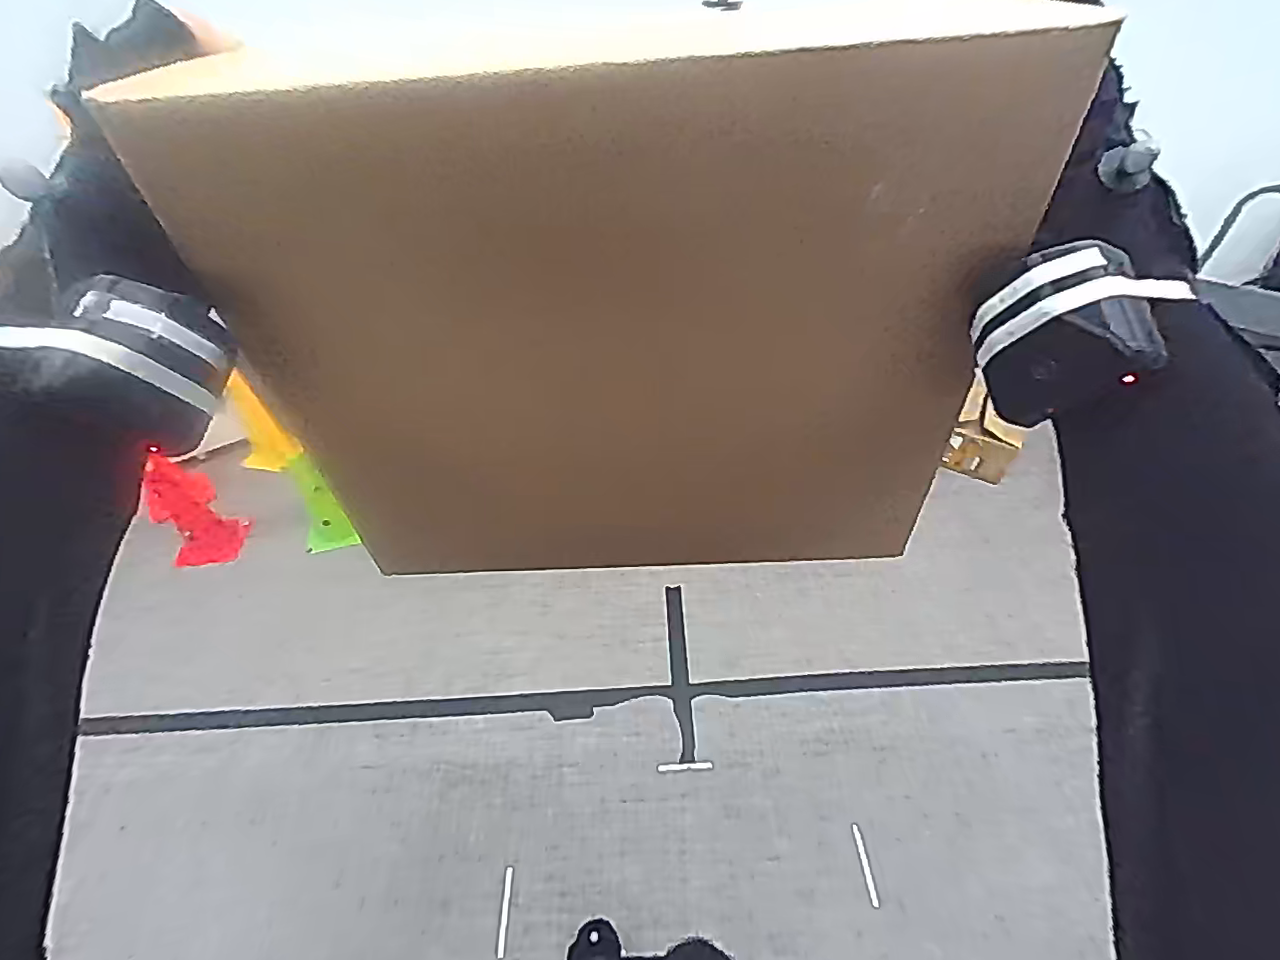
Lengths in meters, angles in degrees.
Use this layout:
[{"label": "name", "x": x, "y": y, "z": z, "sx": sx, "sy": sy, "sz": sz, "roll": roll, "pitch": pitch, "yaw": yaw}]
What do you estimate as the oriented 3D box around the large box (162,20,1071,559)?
[{"label": "large box", "x": -0.009, "y": -0.154, "z": 0.440, "sx": 0.408, "sy": 0.320, "sz": 0.320, "roll": -2, "pitch": 43, "yaw": 2}]
